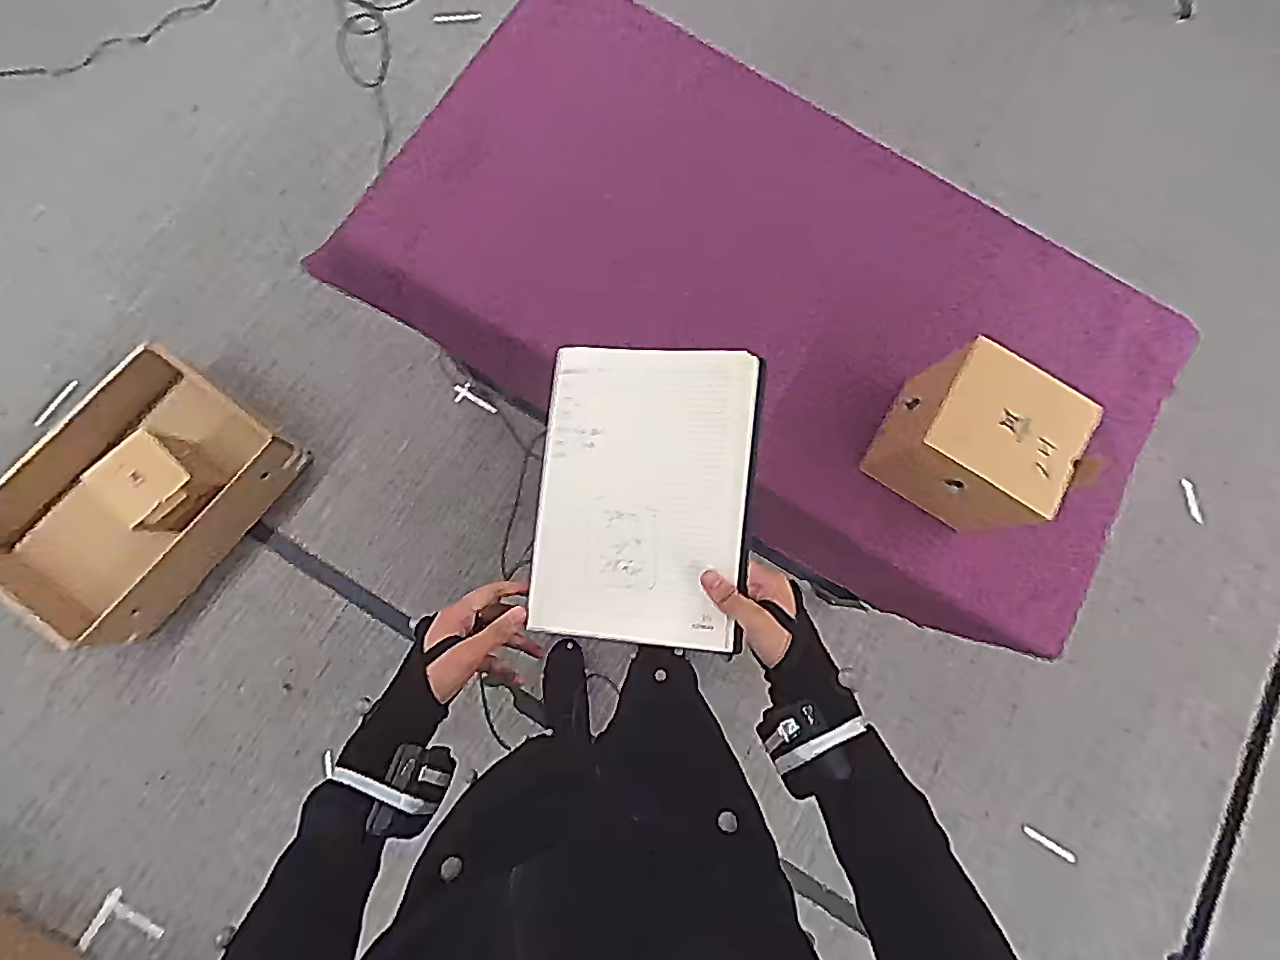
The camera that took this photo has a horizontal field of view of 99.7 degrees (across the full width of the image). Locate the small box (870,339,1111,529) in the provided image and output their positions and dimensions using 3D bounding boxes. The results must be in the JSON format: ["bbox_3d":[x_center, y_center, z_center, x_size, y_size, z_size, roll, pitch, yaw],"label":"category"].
[{"bbox_3d":[0.444,-0.047,0.715,0.179,0.176,0.168,34,80,2],"label":"small box"}]

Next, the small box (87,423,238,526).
[{"bbox_3d":[-1.125,-0.005,1.292,0.168,0.176,0.179,-44,86,-9],"label":"small box"}]
